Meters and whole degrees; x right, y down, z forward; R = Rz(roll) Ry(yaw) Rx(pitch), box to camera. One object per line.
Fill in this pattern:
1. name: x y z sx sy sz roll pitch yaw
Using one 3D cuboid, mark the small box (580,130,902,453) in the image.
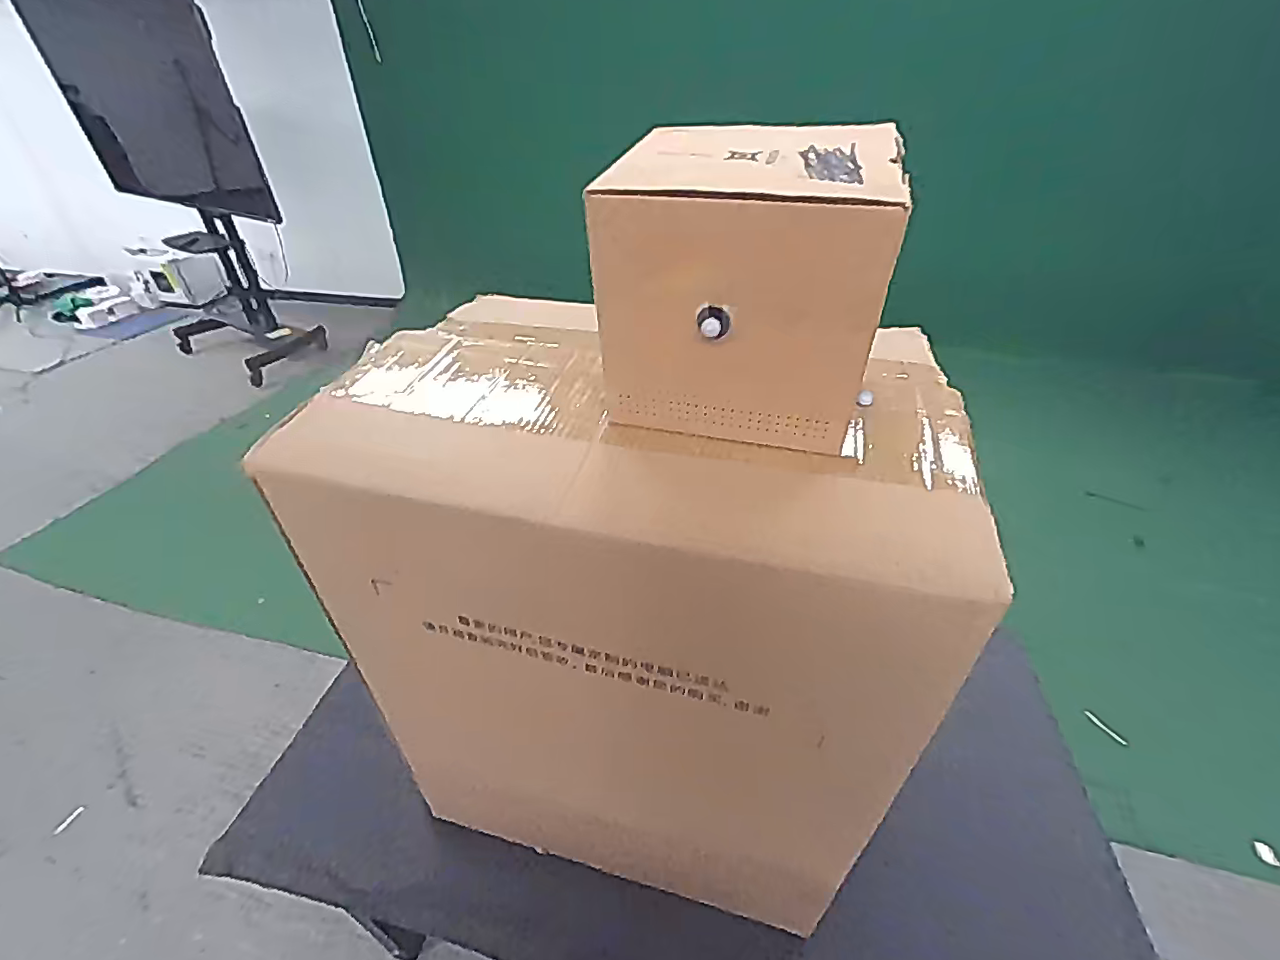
1. small box: 0.075 -0.139 0.397 0.179 0.176 0.168 9 45 15
